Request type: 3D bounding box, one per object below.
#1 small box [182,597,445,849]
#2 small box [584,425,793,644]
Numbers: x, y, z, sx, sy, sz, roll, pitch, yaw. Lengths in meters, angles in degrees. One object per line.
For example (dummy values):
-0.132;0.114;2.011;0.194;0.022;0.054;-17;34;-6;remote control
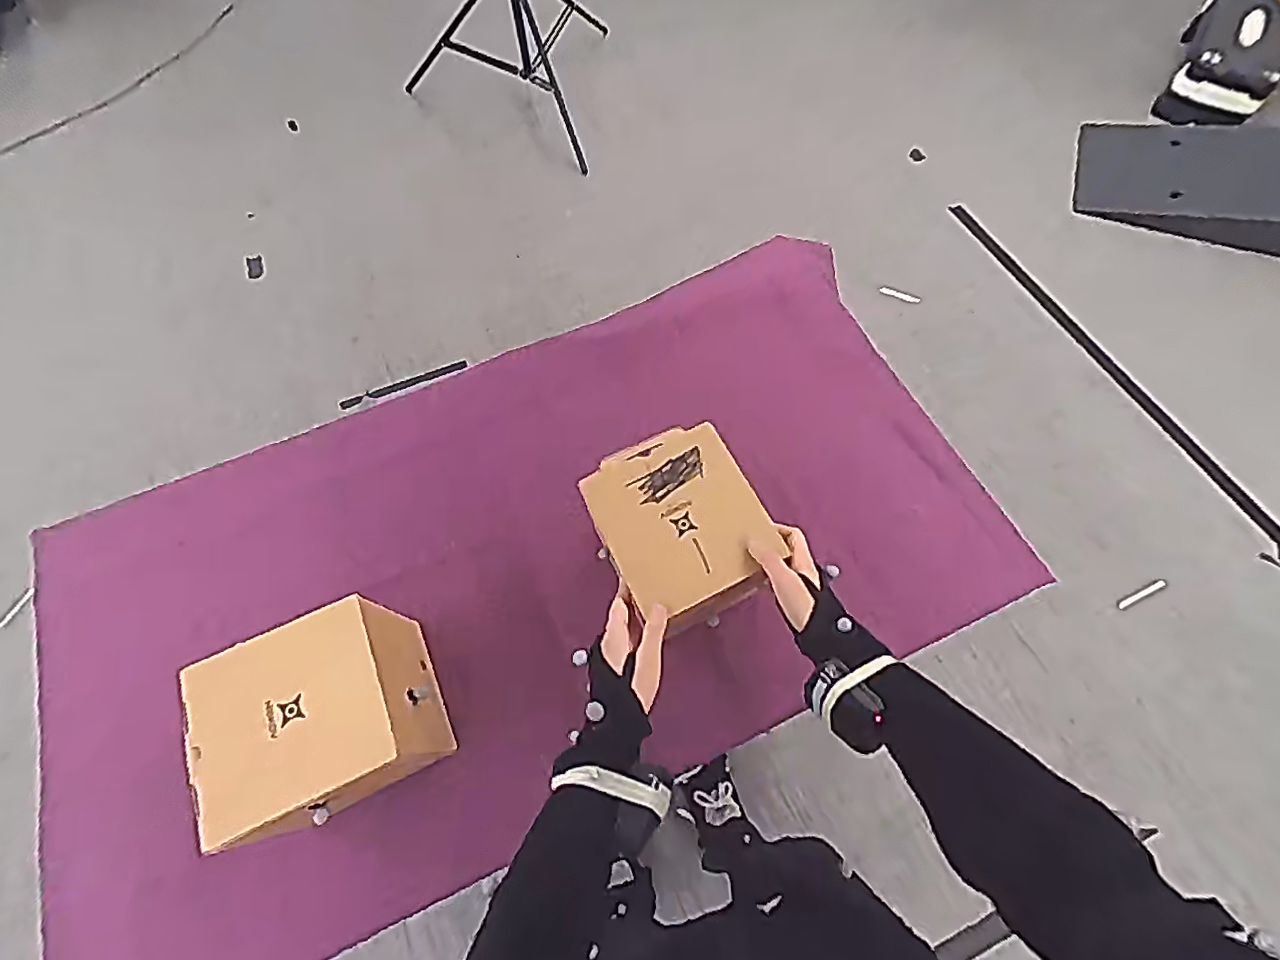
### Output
-0.328;0.247;0.578;0.179;0.176;0.168;-24;68;-9;small box
0.050;0.072;0.642;0.168;0.176;0.179;-26;66;-9;small box
